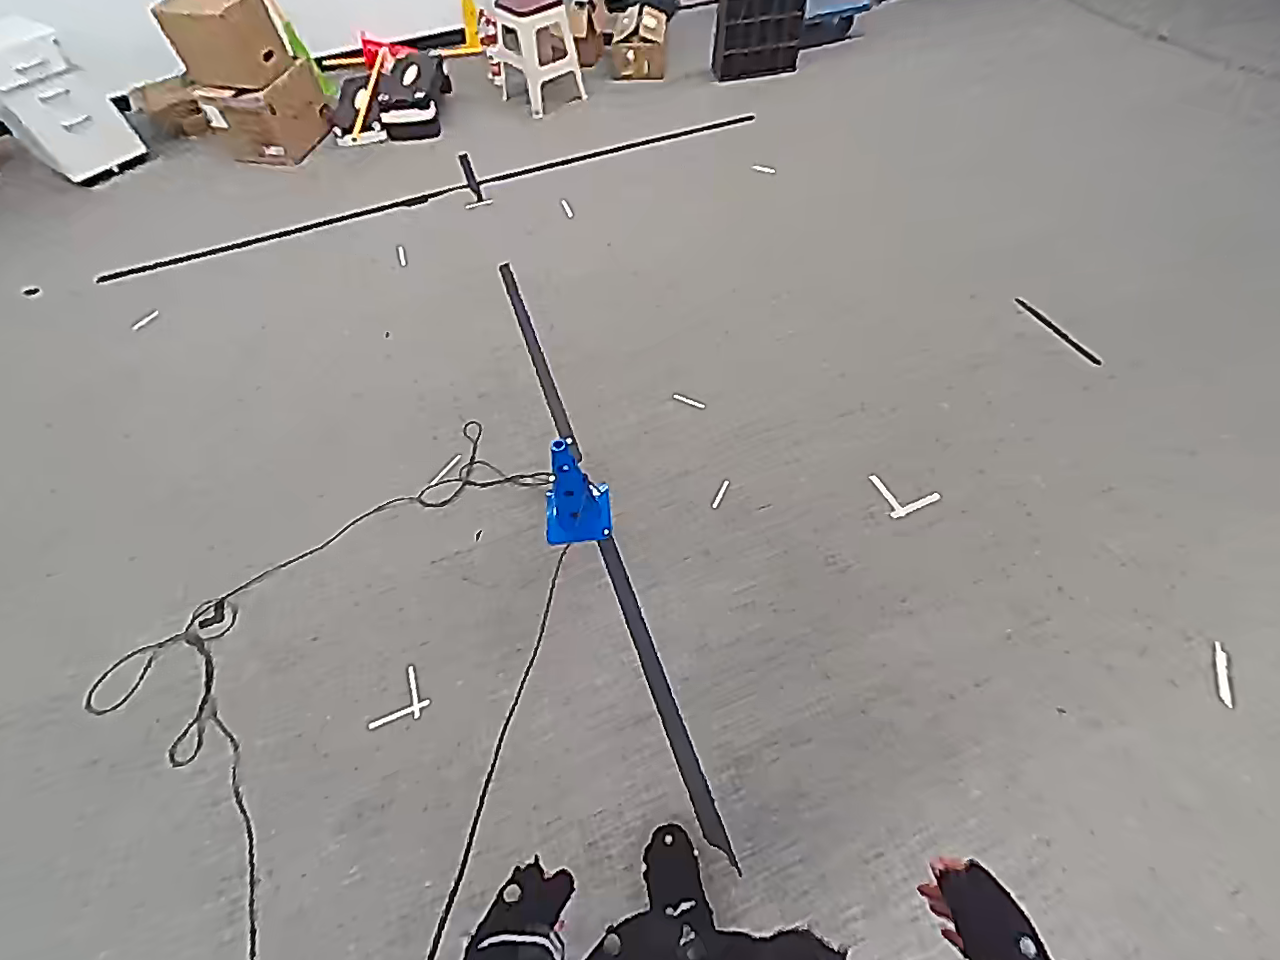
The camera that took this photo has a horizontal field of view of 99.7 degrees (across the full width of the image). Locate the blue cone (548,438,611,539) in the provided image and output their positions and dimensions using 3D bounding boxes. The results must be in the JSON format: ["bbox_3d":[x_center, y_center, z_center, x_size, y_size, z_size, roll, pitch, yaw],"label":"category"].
[{"bbox_3d":[-0.194,0.007,1.539,0.192,0.380,0.193,-4,57,-1],"label":"blue cone"}]
